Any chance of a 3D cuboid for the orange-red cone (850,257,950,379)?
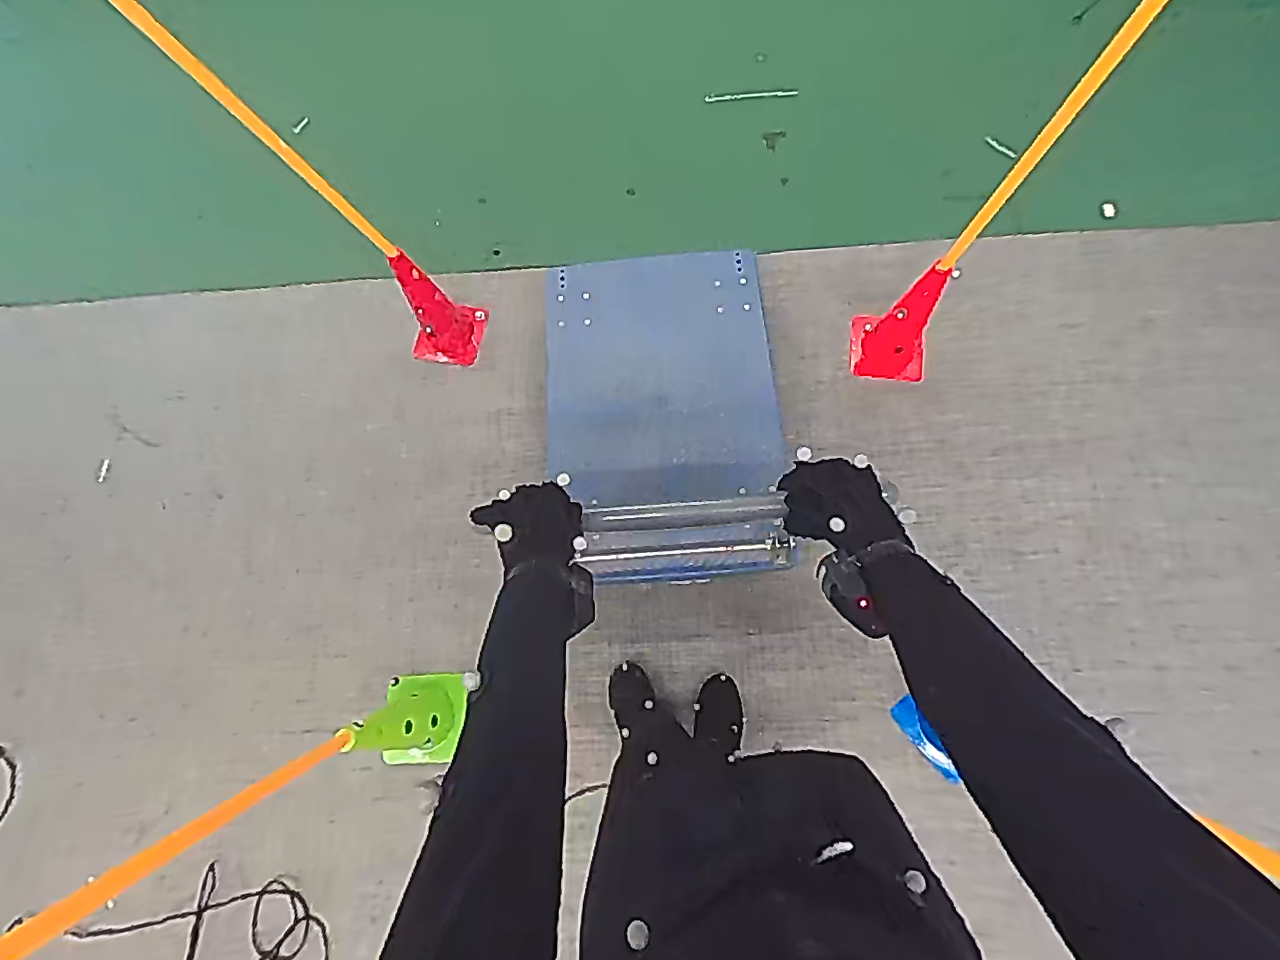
[{"bbox_3d":[0.689,-0.429,1.372,0.198,0.360,0.199,8,75,7],"label":"orange-red cone"}]
